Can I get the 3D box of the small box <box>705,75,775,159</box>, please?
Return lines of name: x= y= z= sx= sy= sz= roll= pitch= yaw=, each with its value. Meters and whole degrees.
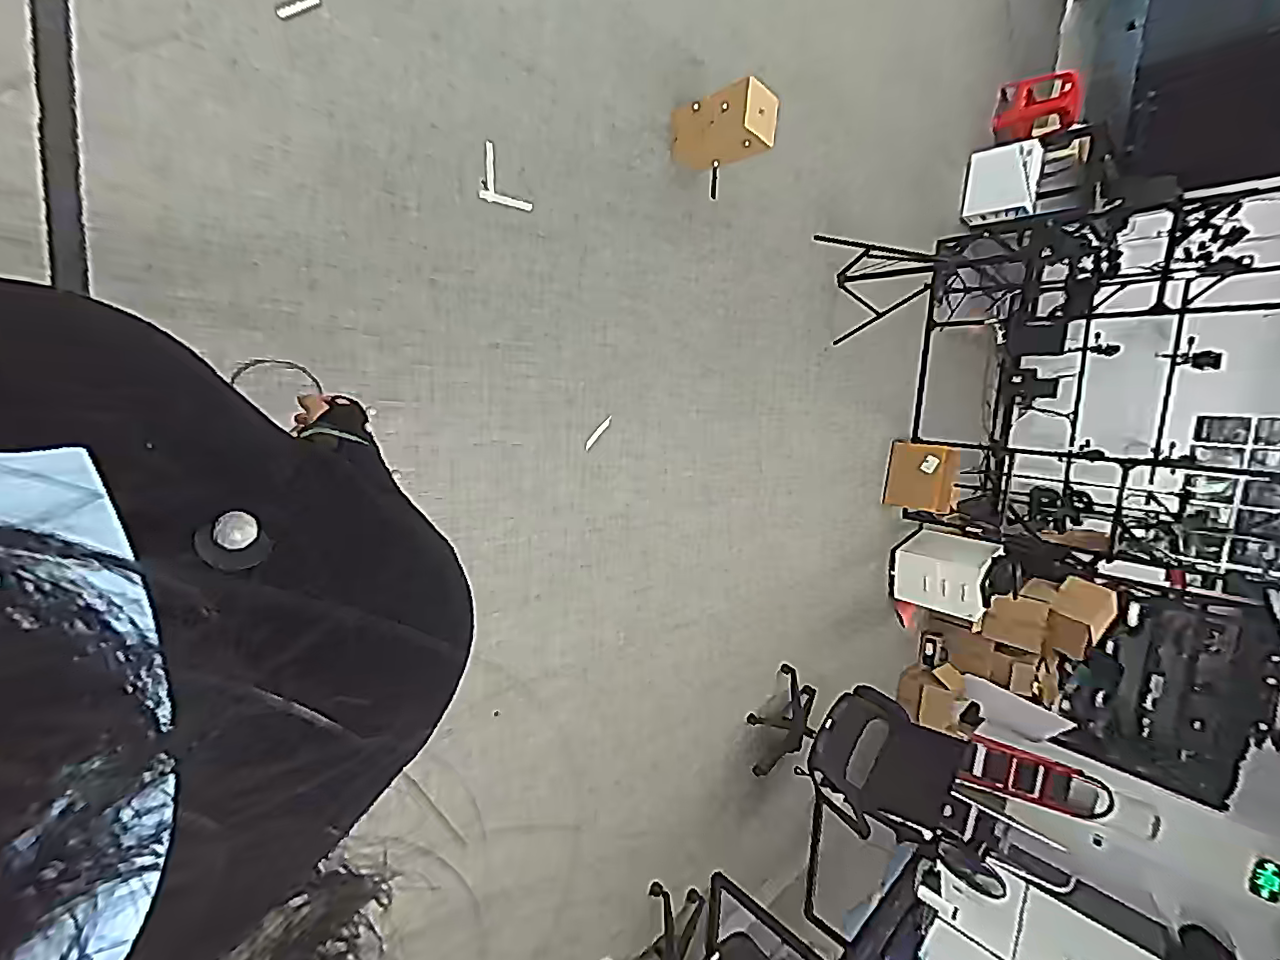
small box: x=0.346 y=-1.253 z=1.885 sx=0.179 sy=0.176 sz=0.168 roll=1 pitch=98 yaw=-45
